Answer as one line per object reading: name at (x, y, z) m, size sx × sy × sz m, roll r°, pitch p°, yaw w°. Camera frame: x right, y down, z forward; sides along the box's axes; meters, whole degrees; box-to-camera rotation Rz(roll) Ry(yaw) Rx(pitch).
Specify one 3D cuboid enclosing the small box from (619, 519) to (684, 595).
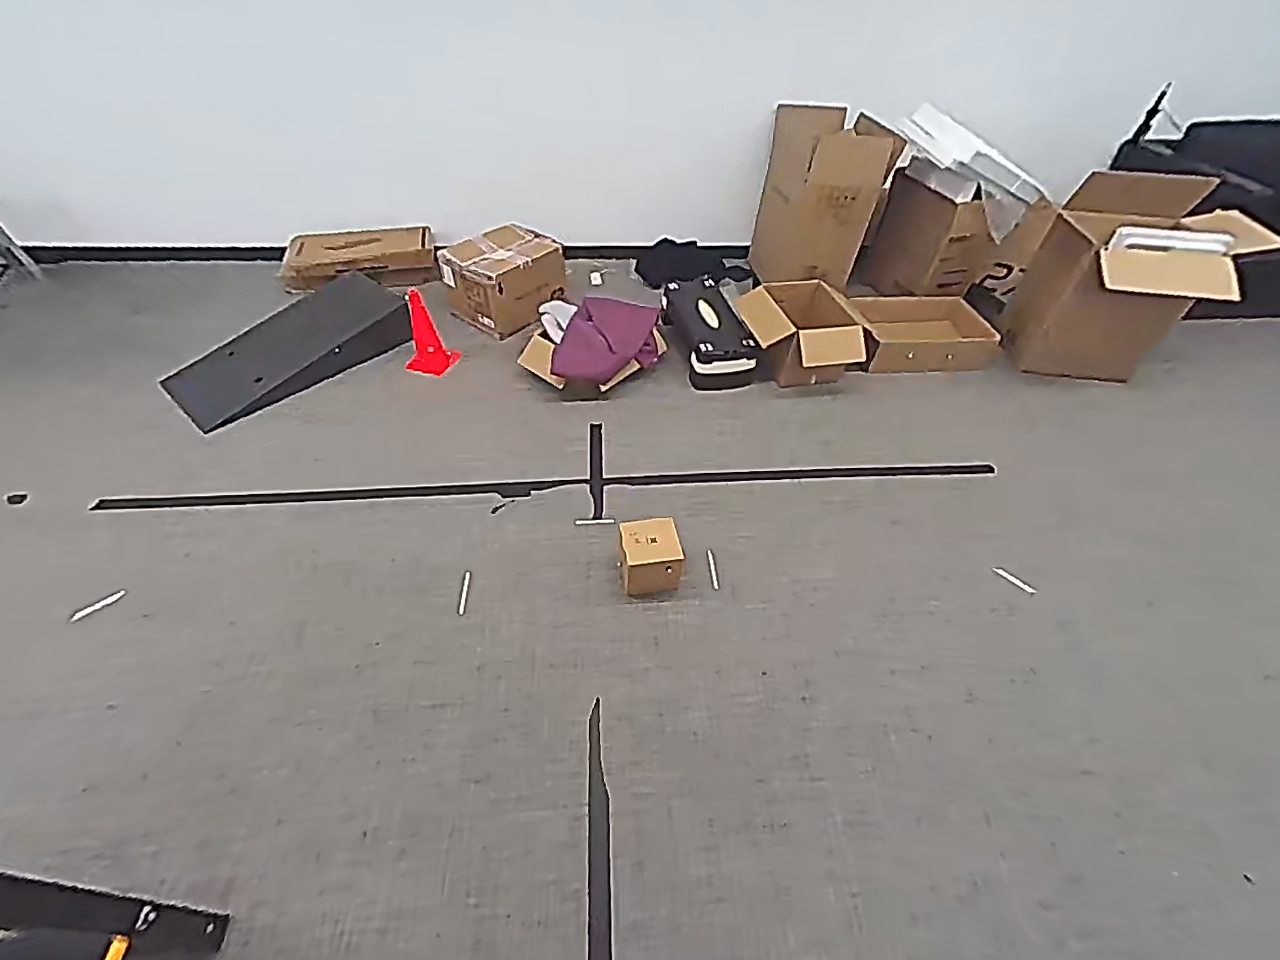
small box at (0.030, 0.247, 1.725) m, size 0.179 × 0.176 × 0.168 m, roll -7°, pitch 47°, yaw -9°
